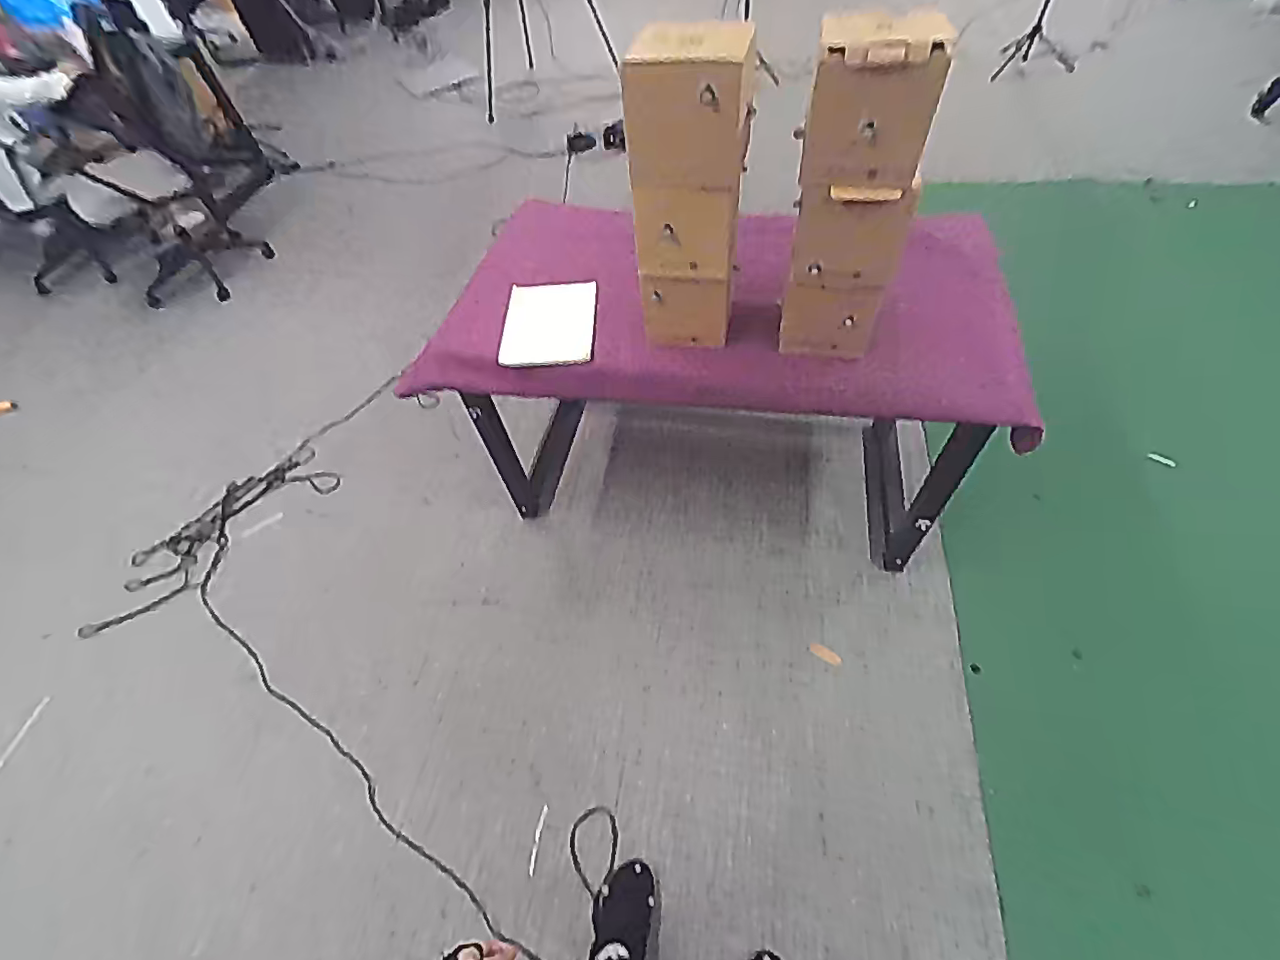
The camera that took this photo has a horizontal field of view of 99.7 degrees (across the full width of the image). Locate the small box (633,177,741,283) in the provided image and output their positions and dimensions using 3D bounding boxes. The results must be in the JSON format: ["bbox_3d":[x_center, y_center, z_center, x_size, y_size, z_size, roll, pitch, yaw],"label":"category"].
[{"bbox_3d":[0.093,-0.478,0.983,0.168,0.176,0.179,7,54,11],"label":"small box"}]

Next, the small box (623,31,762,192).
[{"bbox_3d":[0.086,-0.572,0.847,0.179,0.176,0.168,9,53,13],"label":"small box"}]

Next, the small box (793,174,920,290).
[{"bbox_3d":[0.363,-0.448,0.933,0.168,0.176,0.179,7,53,10],"label":"small box"}]

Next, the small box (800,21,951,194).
[{"bbox_3d":[0.339,-0.549,0.805,0.168,0.176,0.179,8,55,10],"label":"small box"}]

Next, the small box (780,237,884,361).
[{"bbox_3d":[0.372,-0.355,1.067,0.168,0.176,0.179,8,54,11],"label":"small box"}]
